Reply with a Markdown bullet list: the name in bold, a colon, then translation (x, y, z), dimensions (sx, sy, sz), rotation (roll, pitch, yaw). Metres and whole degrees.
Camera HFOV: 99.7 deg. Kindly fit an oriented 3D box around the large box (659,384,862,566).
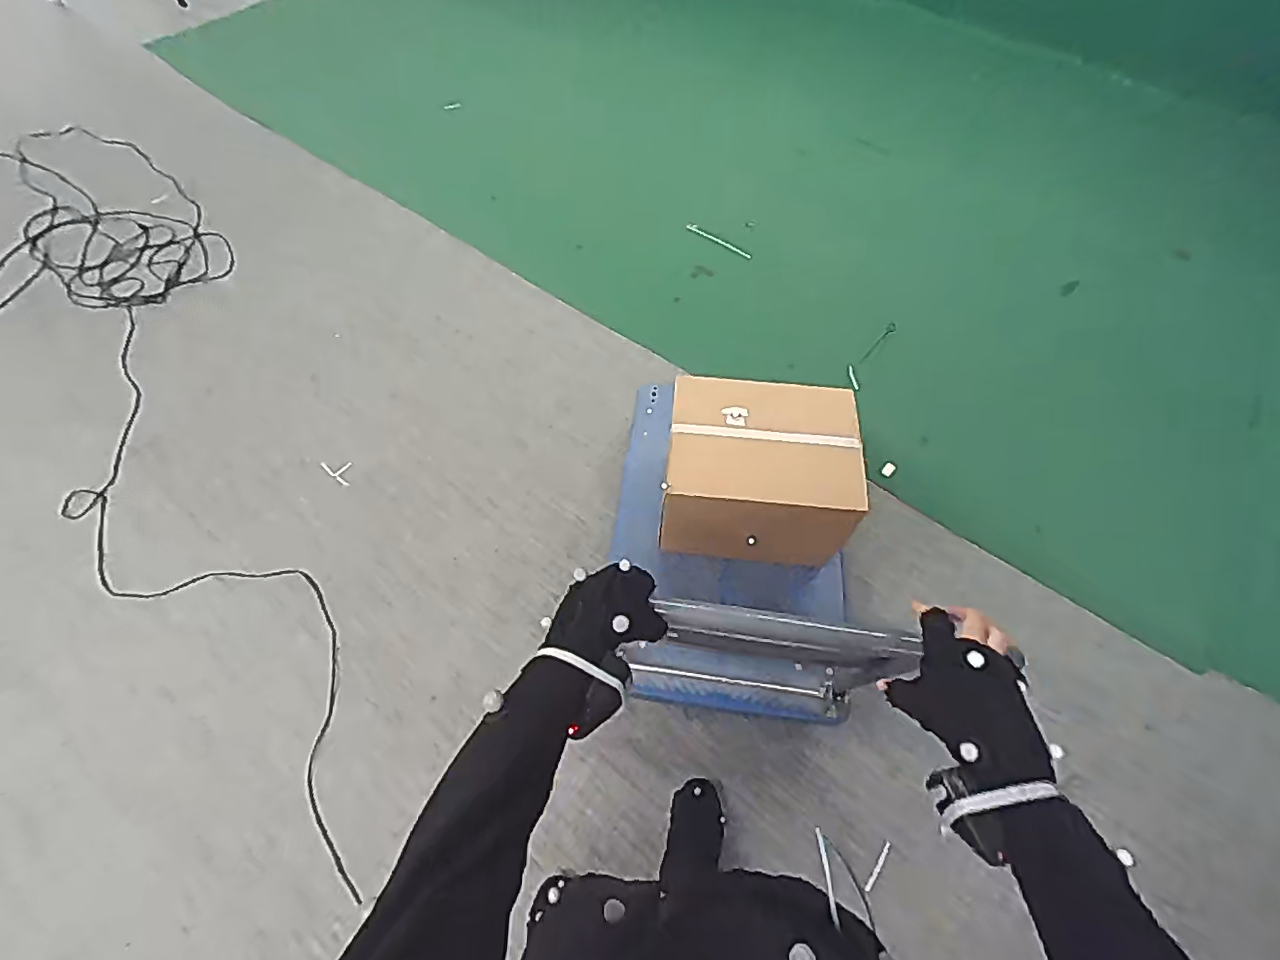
- **large box**: translation (0.260, -0.001, 1.287), dimensions (0.408, 0.320, 0.320), rotation (5, 59, 2)
